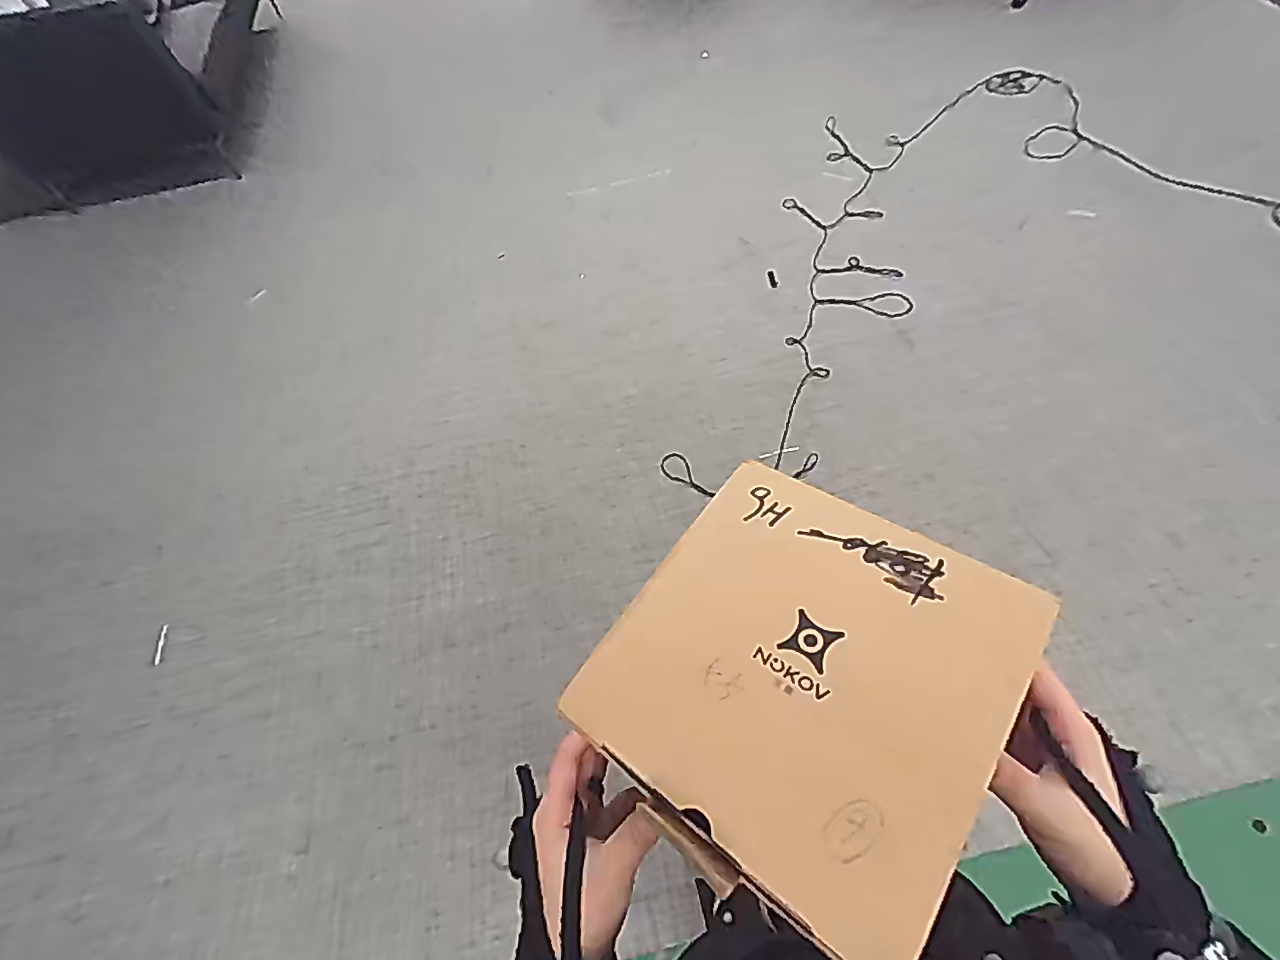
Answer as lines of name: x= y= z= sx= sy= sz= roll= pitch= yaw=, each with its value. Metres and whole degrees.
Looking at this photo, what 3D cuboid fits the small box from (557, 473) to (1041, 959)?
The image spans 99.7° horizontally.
small box: x=0.087 y=0.135 z=0.319 sx=0.168 sy=0.176 sz=0.179 roll=28 pitch=65 yaw=30
